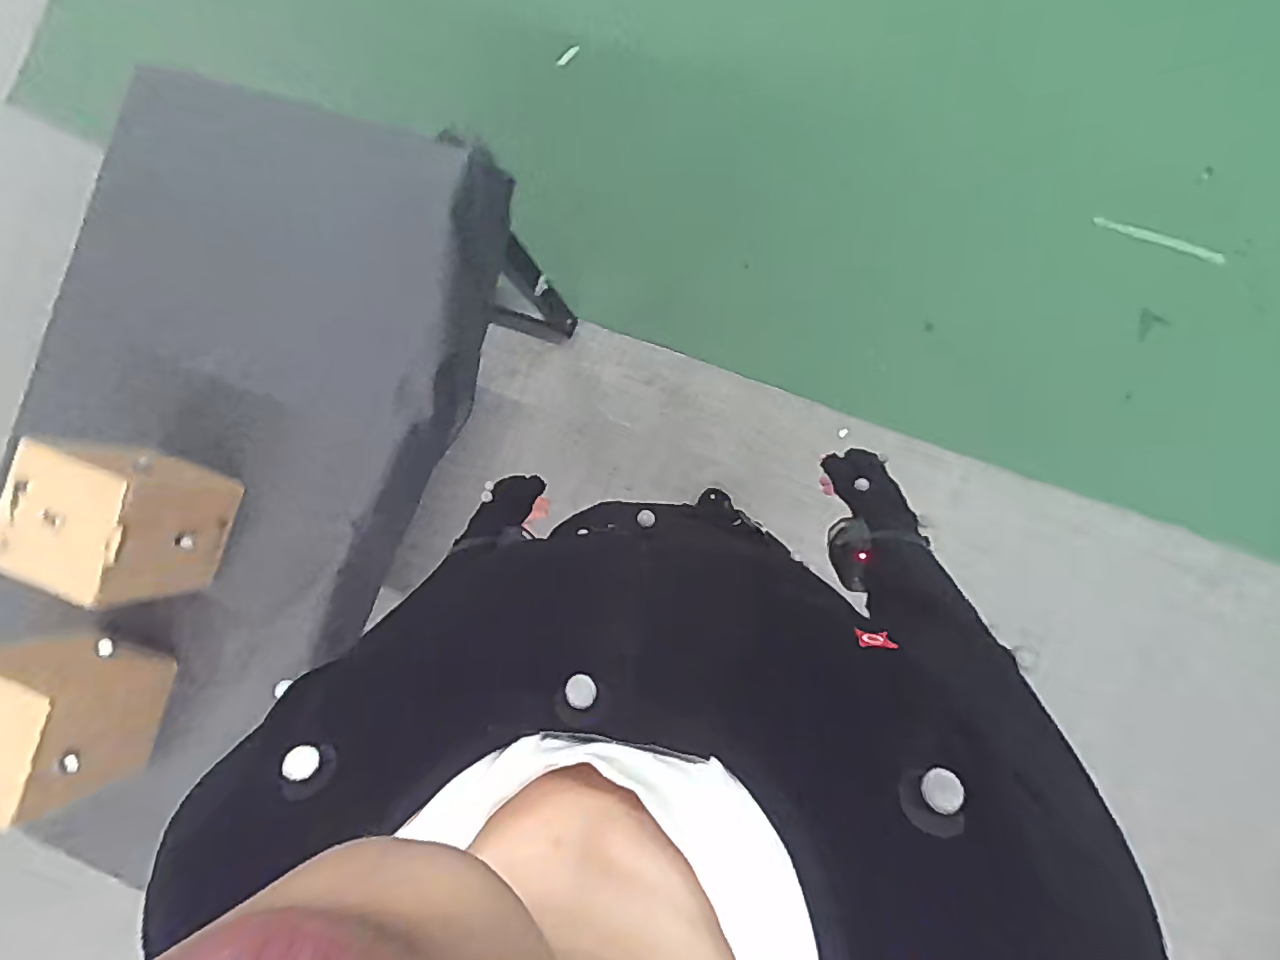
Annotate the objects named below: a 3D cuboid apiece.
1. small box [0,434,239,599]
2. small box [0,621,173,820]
[{"bbox_3d":[-0.718,0.045,0.757,0.179,0.176,0.168,19,91,6],"label":"small box"},{"bbox_3d":[-0.818,0.321,0.760,0.168,0.176,0.179,17,90,7],"label":"small box"}]
